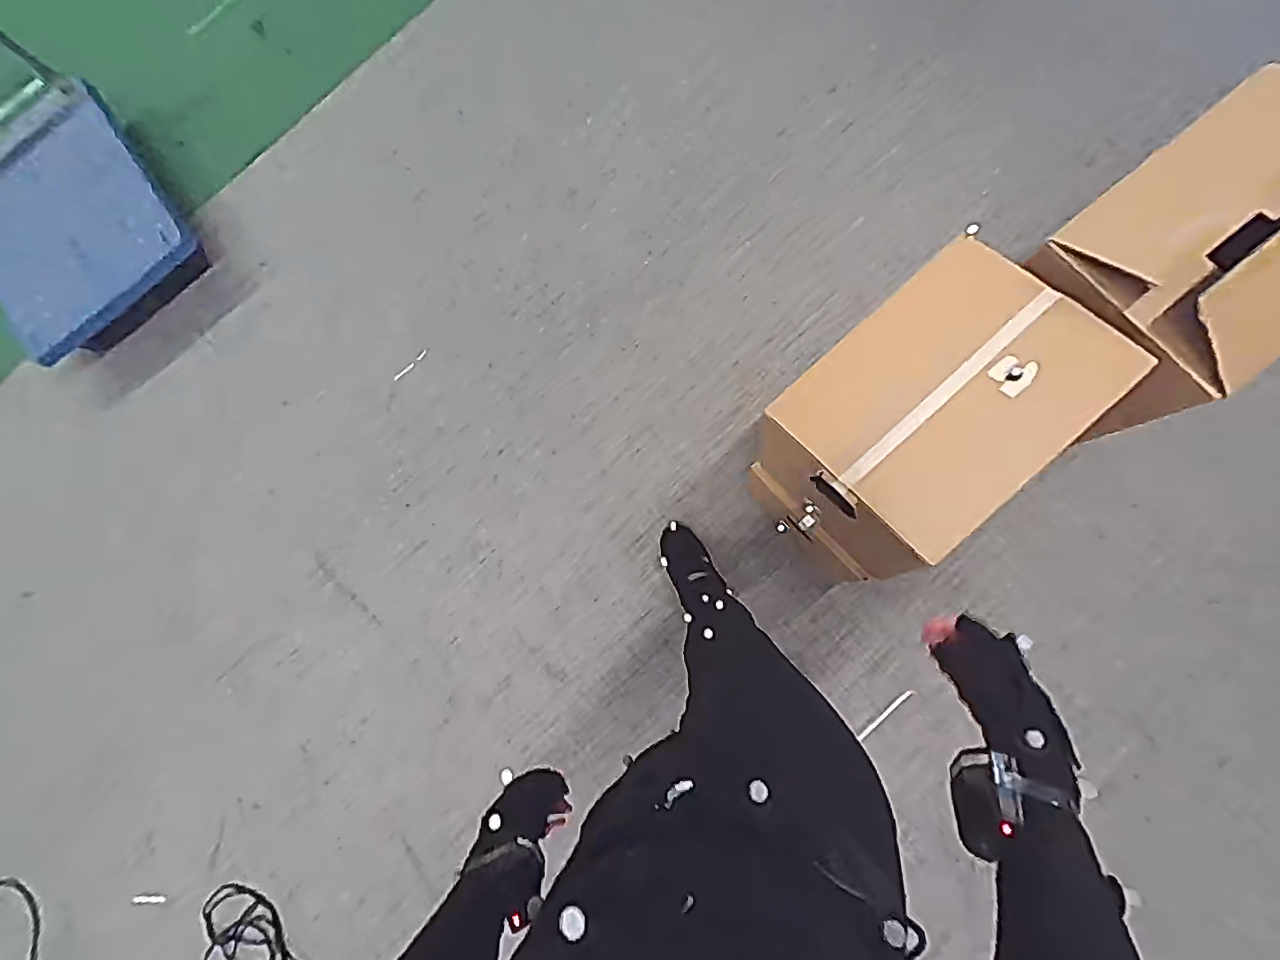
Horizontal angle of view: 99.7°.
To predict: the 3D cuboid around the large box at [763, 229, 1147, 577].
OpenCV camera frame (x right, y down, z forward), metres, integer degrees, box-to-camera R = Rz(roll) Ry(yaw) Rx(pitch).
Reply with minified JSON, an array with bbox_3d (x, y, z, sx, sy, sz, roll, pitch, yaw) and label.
[{"bbox_3d":[0.451,-0.097,0.887,0.408,0.320,0.320,-42,72,-1],"label":"large box"}]
